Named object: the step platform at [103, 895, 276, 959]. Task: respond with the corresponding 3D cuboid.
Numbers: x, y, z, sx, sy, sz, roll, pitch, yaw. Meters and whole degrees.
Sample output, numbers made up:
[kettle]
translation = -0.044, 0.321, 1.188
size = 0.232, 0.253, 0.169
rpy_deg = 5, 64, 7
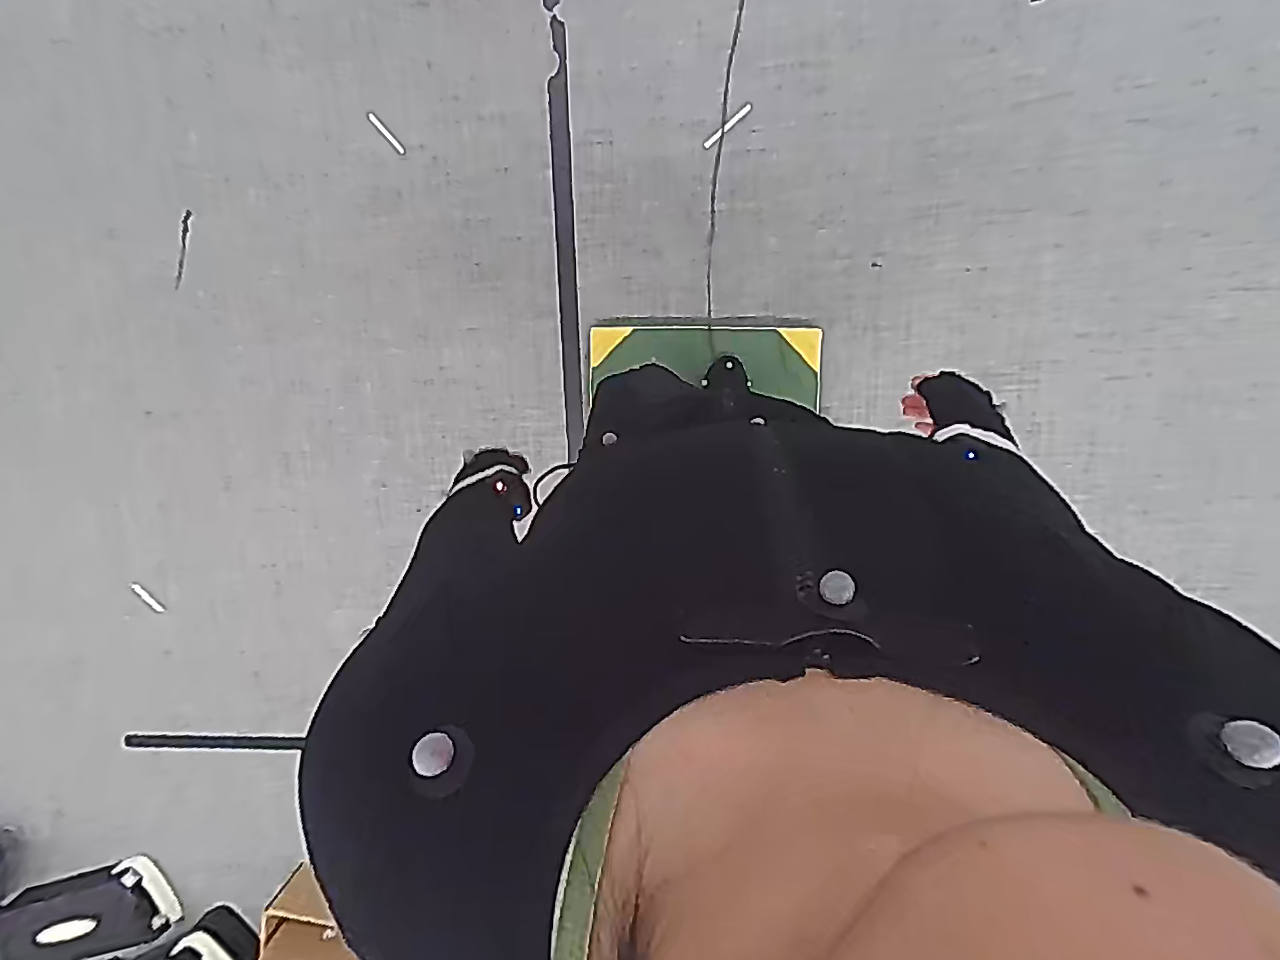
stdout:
[step platform]
translation = -1.699, 1.790, 1.952
size = 0.684, 0.204, 0.286
rpy_deg = -30, 99, 9
